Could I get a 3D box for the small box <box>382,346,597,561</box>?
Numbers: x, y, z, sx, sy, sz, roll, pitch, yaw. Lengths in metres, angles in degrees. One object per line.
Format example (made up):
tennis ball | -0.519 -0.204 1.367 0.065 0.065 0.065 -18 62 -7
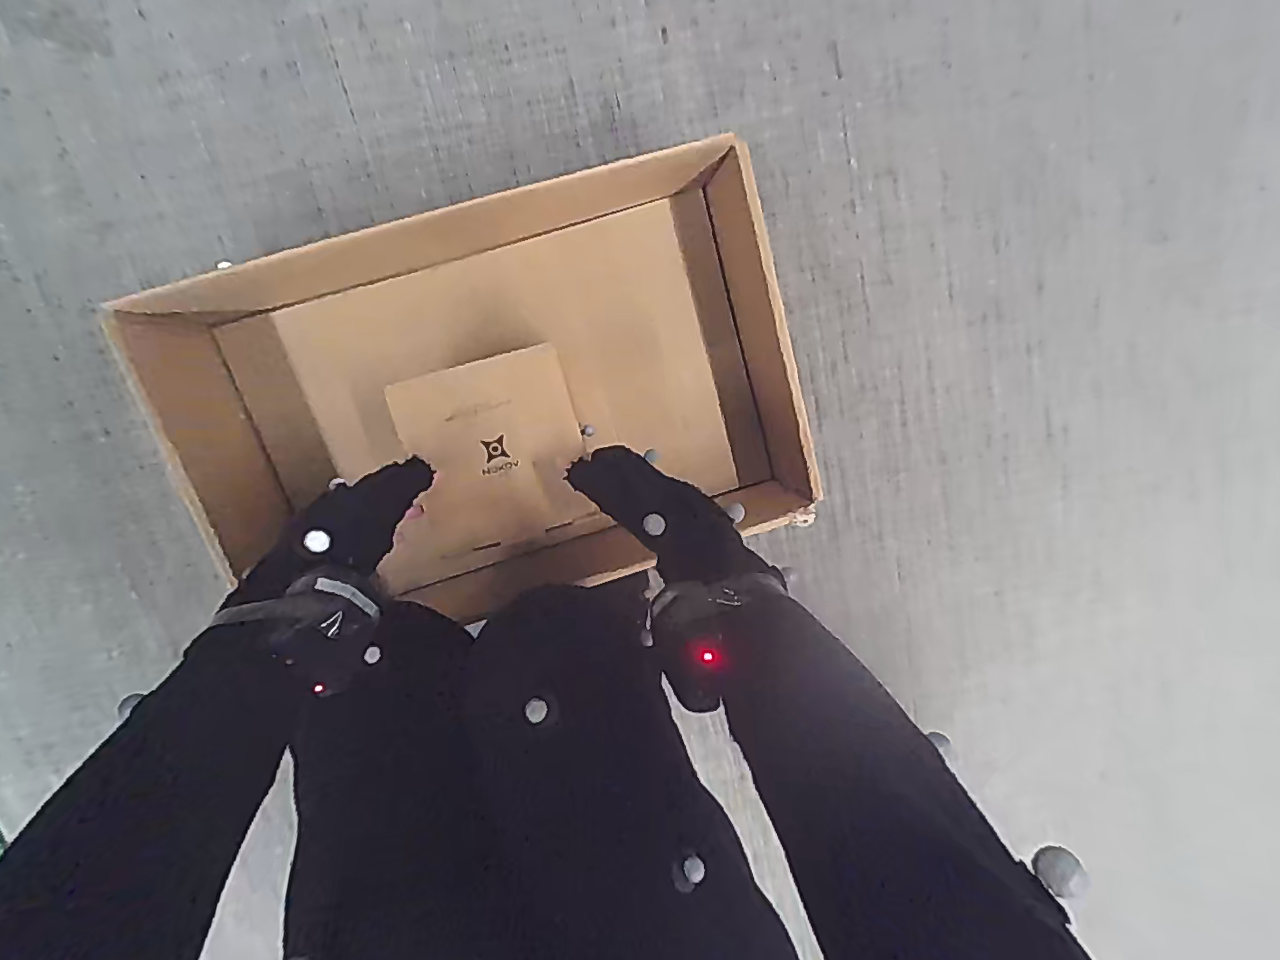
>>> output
small box | -0.146 -0.033 0.592 0.168 0.176 0.179 -16 97 -4
